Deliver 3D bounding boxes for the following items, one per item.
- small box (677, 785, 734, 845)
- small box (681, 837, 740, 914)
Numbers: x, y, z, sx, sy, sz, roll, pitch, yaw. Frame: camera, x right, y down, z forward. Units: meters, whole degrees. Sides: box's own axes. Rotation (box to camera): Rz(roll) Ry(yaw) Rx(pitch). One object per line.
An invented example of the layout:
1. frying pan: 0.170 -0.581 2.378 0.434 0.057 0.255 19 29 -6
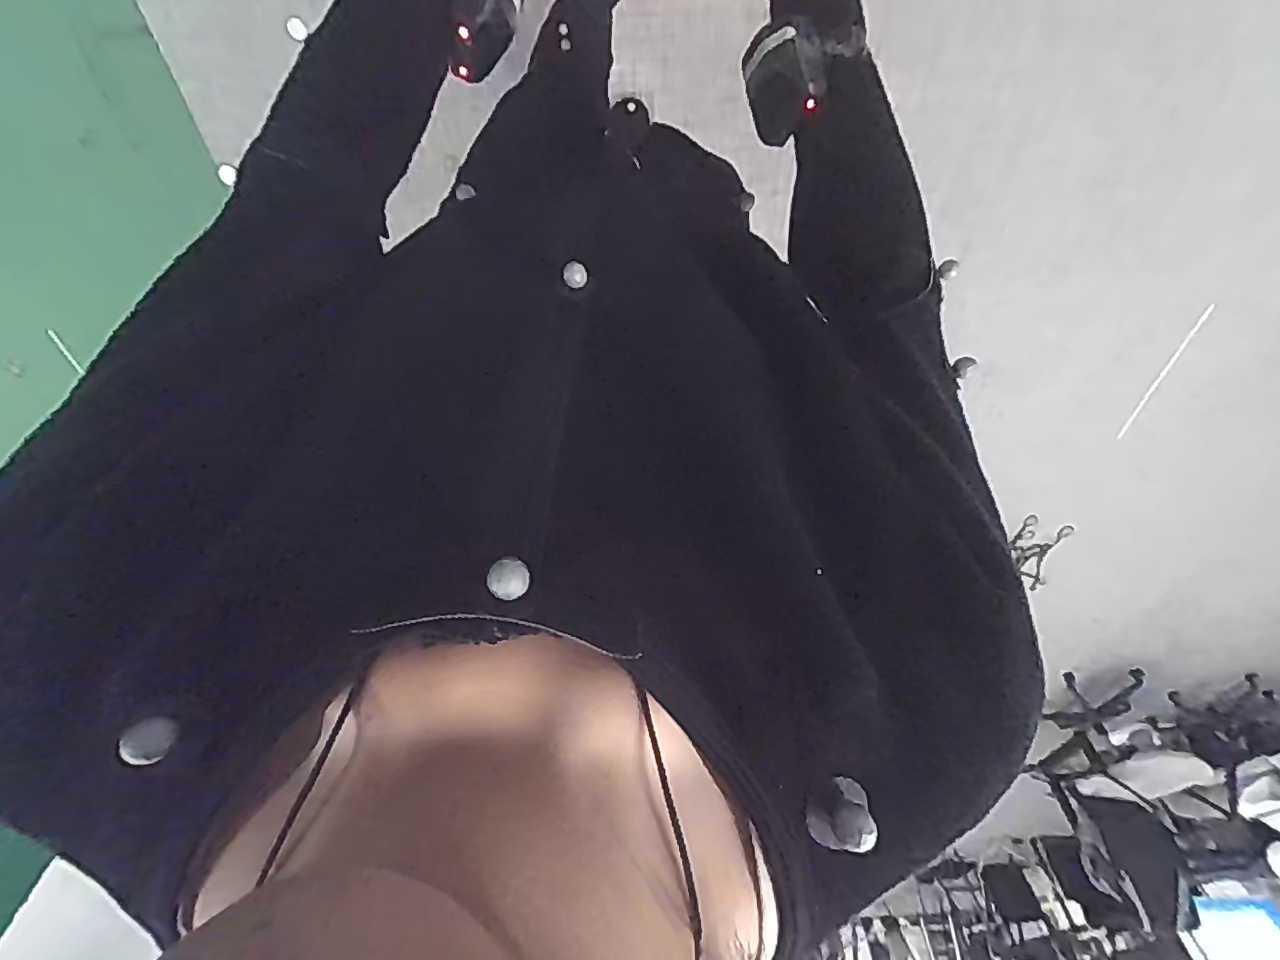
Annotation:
1. small box: 0.225 1.176 1.878 0.179 0.176 0.168 -5 132 2
2. small box: 0.225 1.283 1.757 0.179 0.176 0.168 -7 132 3
